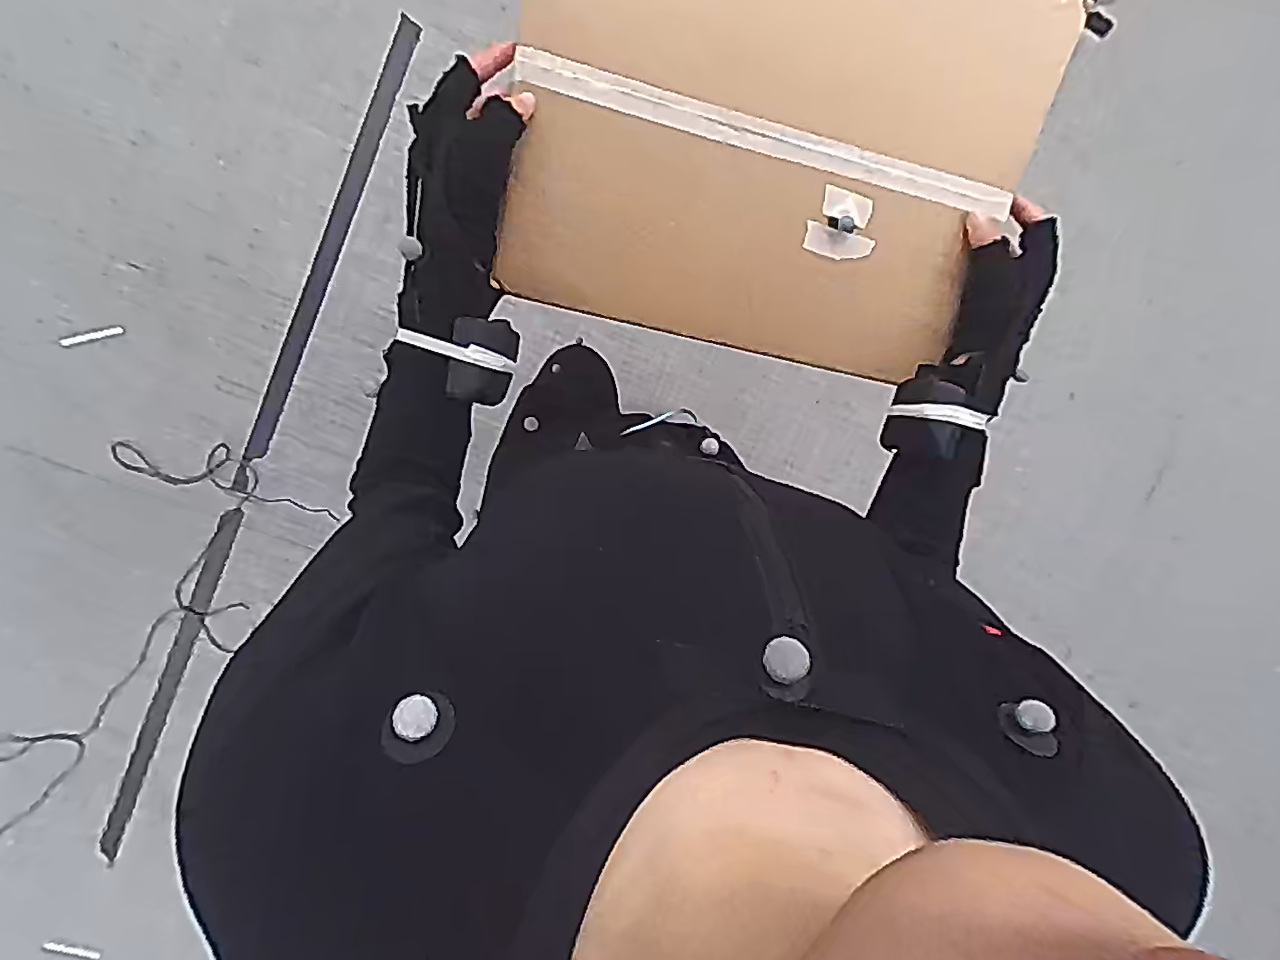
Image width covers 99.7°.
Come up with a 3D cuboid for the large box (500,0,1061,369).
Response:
[{"bbox_3d":[0.088,-0.329,0.570,0.408,0.320,0.320,10,111,-10],"label":"large box"}]
